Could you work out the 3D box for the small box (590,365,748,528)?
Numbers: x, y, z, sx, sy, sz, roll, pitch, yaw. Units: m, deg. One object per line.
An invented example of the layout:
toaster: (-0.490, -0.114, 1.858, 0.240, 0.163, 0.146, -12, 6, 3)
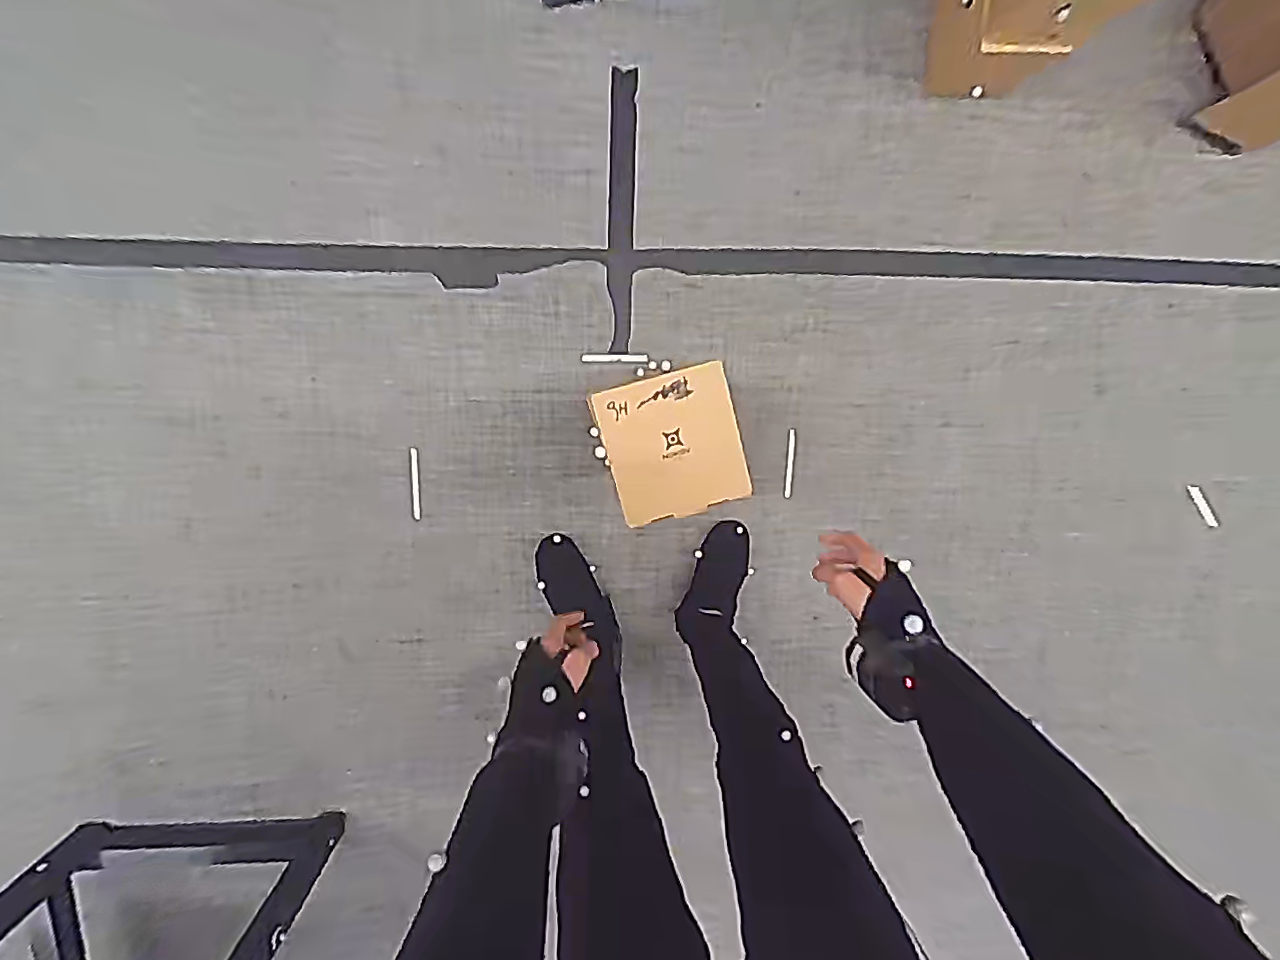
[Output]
small box: (0.034, -0.056, 0.744, 0.168, 0.176, 0.179, -16, 102, -2)
